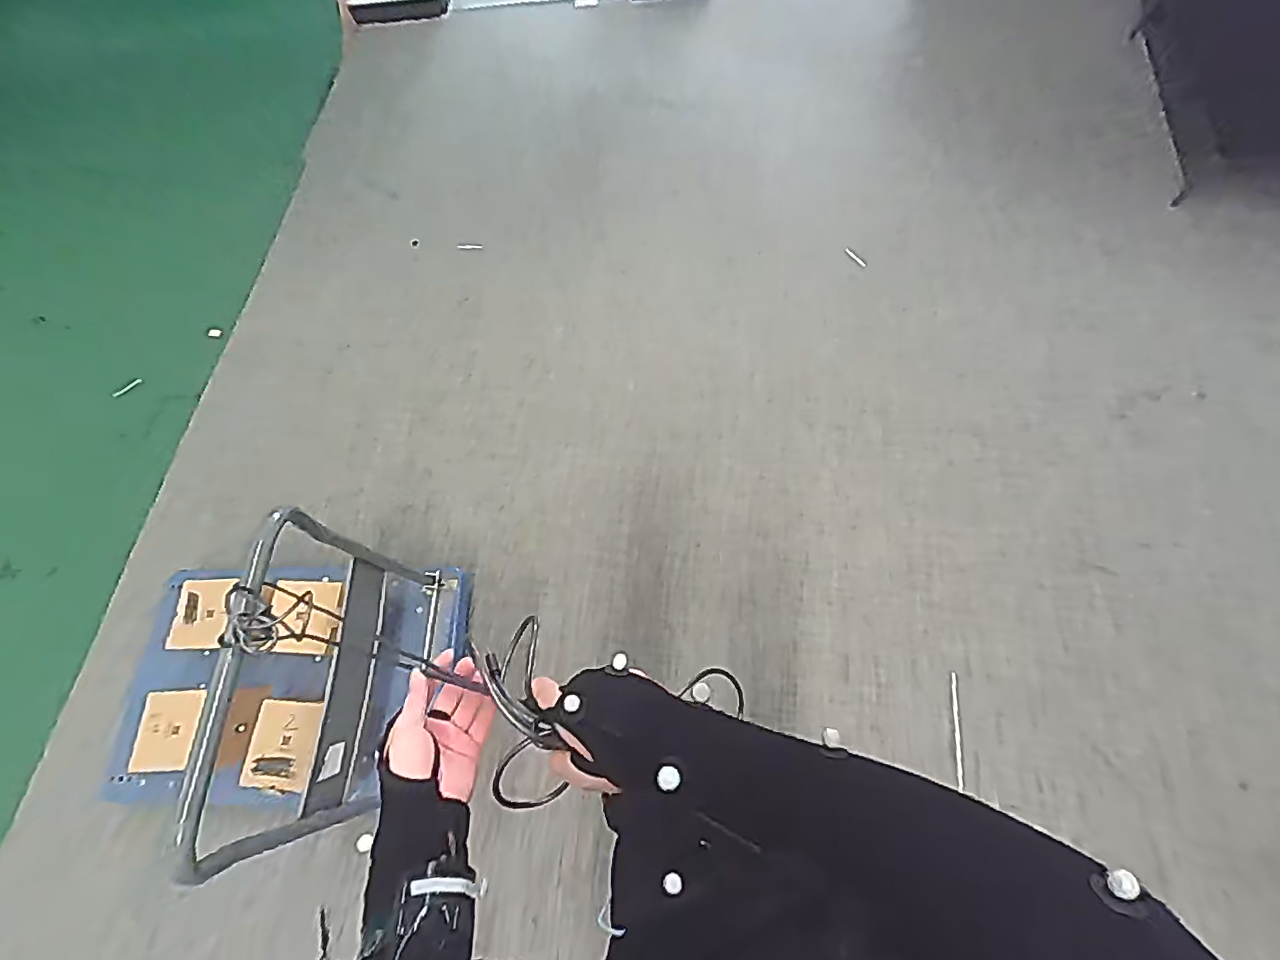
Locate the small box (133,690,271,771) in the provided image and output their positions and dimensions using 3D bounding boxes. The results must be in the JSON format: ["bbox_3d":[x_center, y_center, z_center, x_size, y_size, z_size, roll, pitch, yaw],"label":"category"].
[{"bbox_3d":[-1.029,0.591,1.289,0.179,0.176,0.168,-4,68,6],"label":"small box"}]

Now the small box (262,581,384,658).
[{"bbox_3d":[-0.780,0.351,1.347,0.179,0.176,0.168,0,69,8],"label":"small box"}]

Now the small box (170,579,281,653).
[{"bbox_3d":[-1.024,0.351,1.379,0.179,0.176,0.168,-3,70,6],"label":"small box"}]
